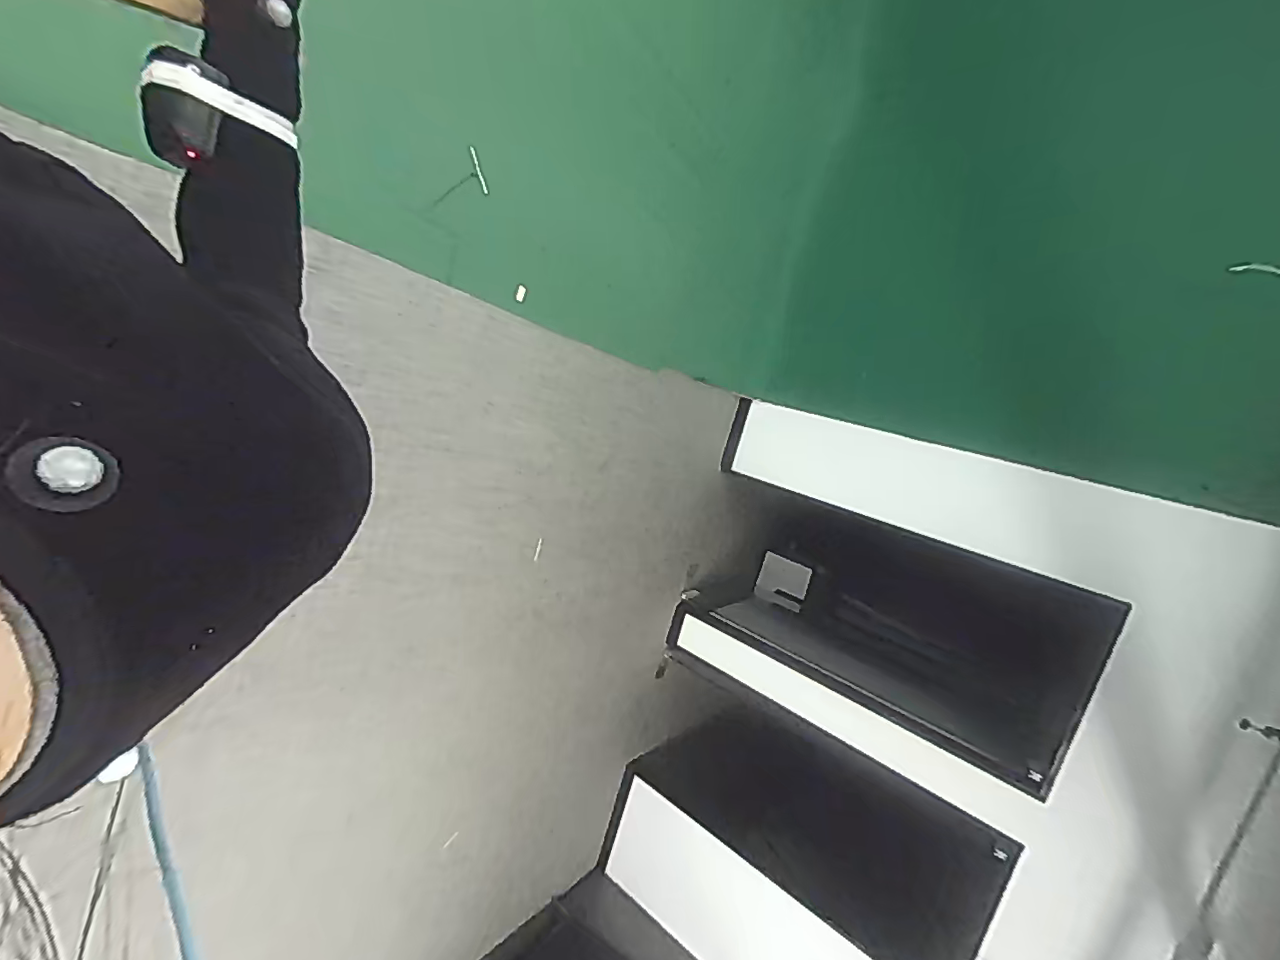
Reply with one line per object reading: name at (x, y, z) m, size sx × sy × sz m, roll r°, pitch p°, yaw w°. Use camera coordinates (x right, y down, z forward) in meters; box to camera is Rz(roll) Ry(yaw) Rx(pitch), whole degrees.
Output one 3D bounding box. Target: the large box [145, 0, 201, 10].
large box at (-0.495, -0.503, 0.239) m, size 0.408 × 0.320 × 0.320 m, roll -15°, pitch 132°, yaw -50°
